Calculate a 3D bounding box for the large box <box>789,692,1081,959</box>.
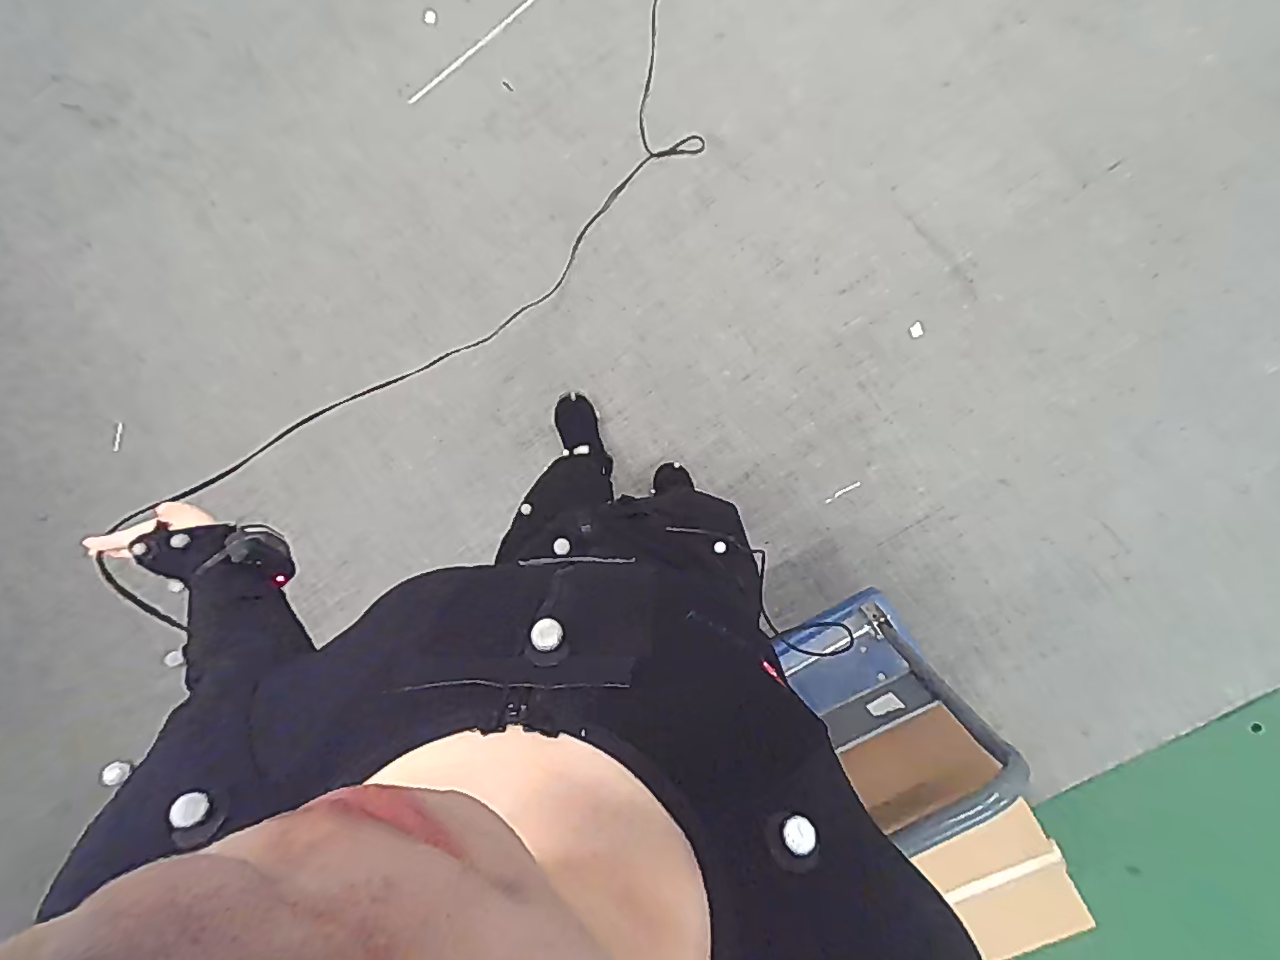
[{"bbox_3d":[0.594,0.740,1.172,0.408,0.320,0.320,-30,90,9],"label":"large box"}]
